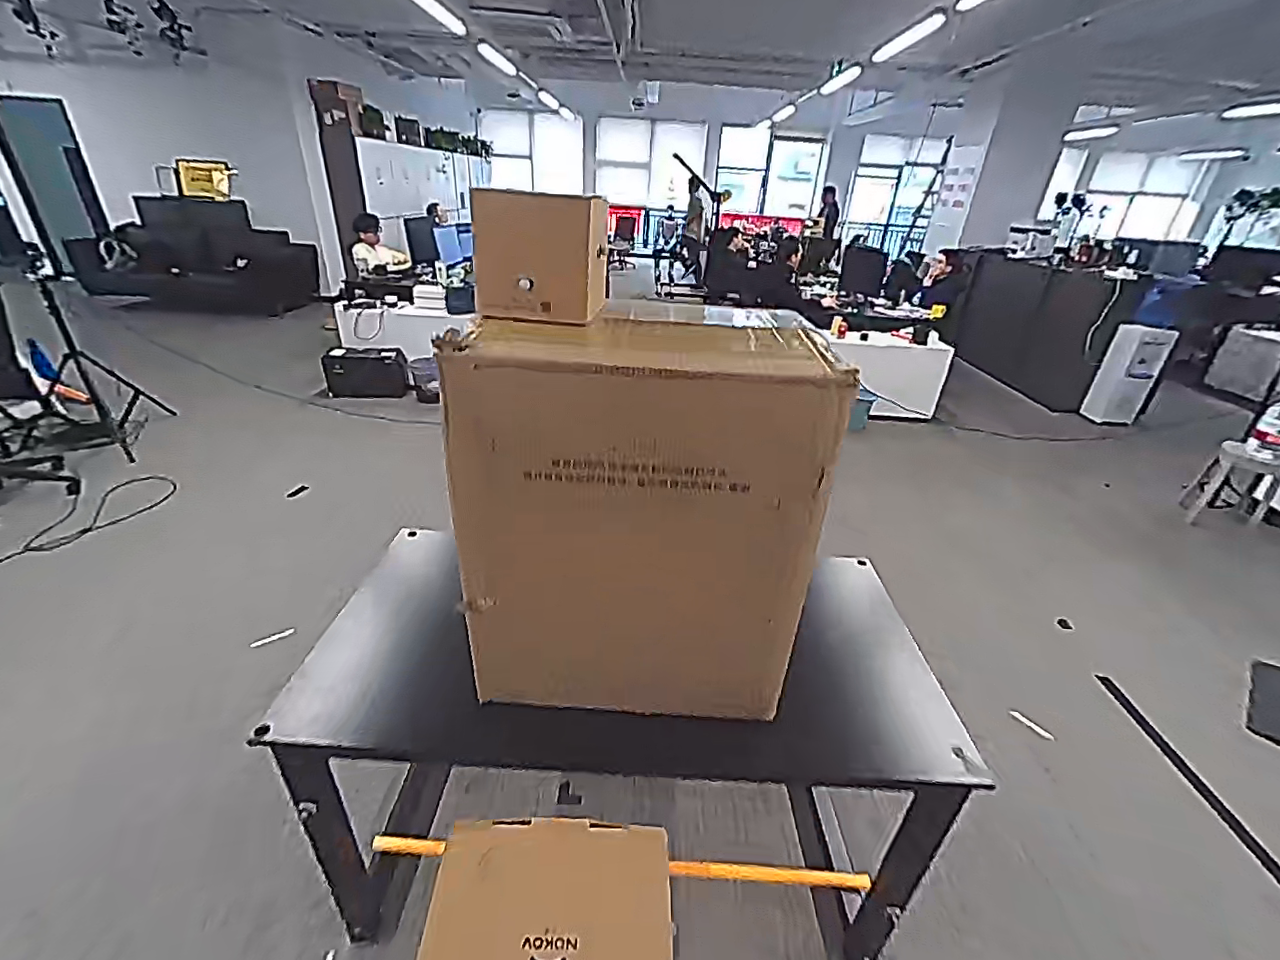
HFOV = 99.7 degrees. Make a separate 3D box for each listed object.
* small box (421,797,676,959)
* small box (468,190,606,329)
[{"bbox_3d":[-0.066,0.367,0.399,0.168,0.176,0.179,4,36,-4],"label":"small box"},{"bbox_3d":[-0.147,-0.337,0.821,0.168,0.176,0.179,5,28,3],"label":"small box"}]
